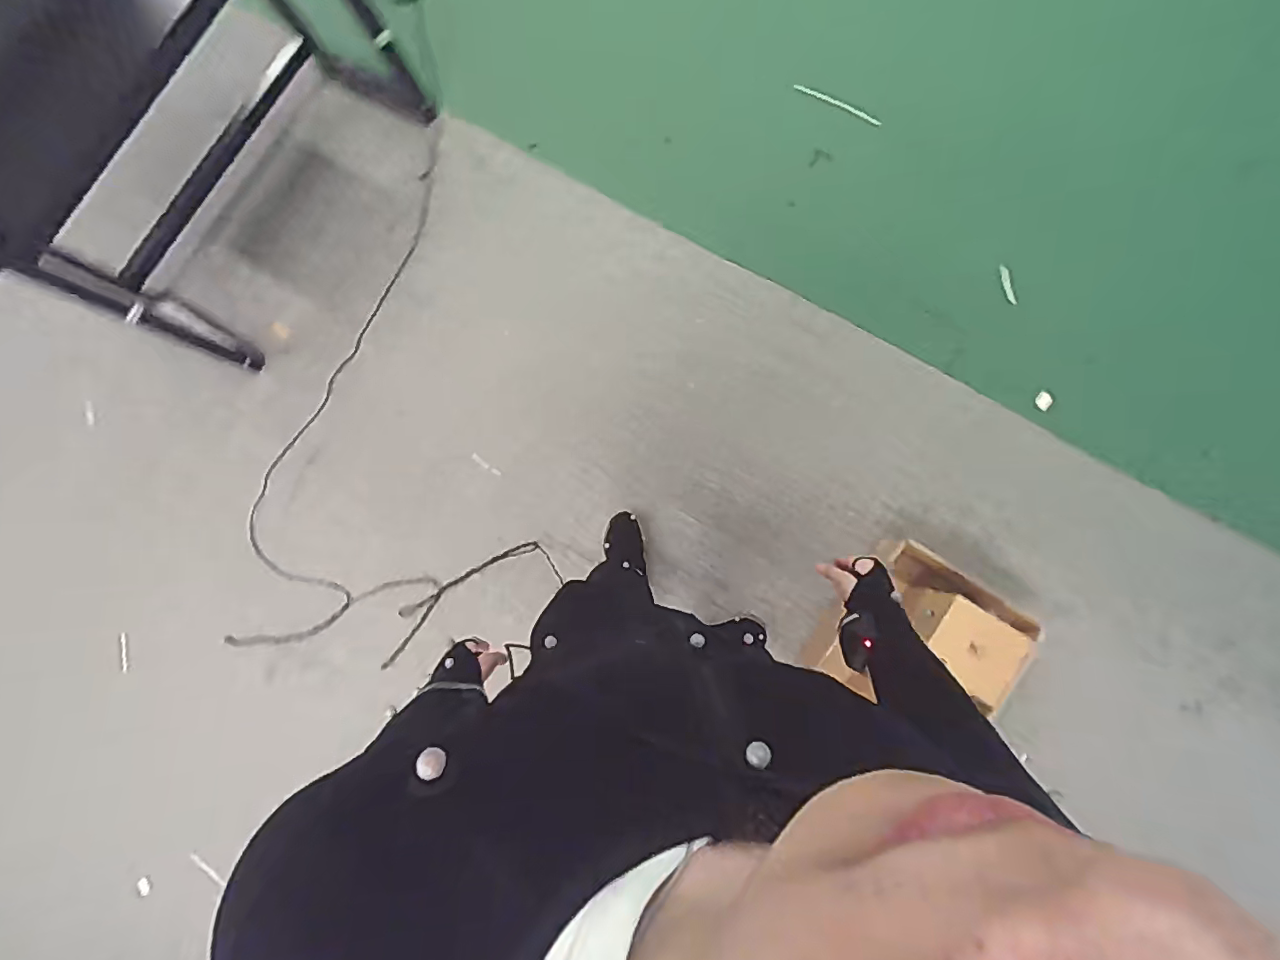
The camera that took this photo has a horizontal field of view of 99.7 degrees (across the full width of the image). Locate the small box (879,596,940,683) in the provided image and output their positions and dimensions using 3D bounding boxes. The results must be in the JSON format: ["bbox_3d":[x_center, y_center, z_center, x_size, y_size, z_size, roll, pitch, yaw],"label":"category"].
[{"bbox_3d":[0.748,0.414,1.385,0.179,0.176,0.168,34,87,11],"label":"small box"}]

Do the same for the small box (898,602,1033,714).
[{"bbox_3d":[0.724,0.392,1.227,0.179,0.176,0.168,34,87,11],"label":"small box"}]
